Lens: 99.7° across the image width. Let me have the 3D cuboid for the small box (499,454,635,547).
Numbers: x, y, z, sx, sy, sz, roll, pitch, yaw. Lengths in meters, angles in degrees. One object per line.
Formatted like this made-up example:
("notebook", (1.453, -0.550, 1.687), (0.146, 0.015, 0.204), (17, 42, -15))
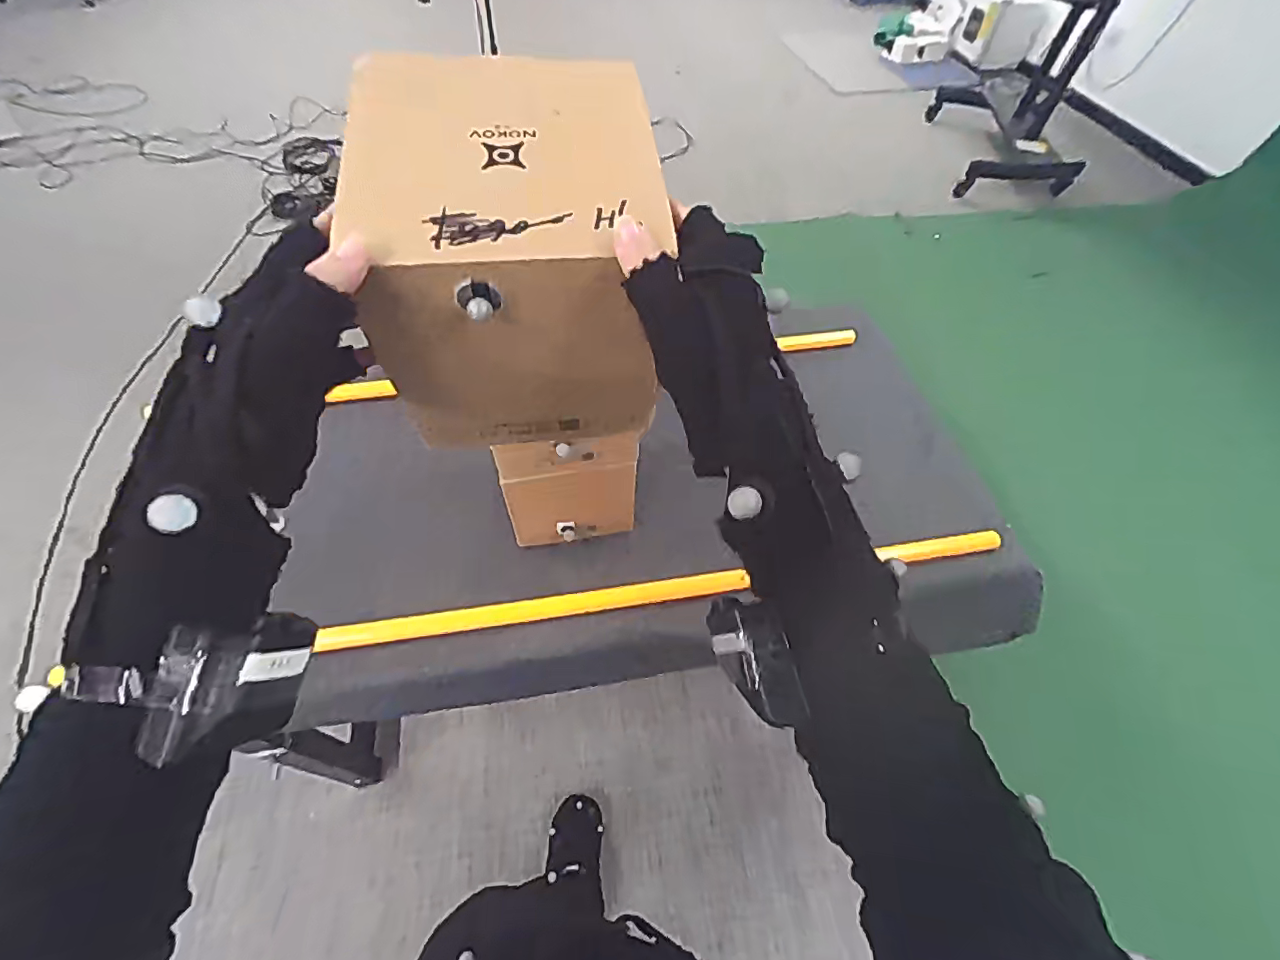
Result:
("small box", (-0.106, -0.029, 0.764), (0.168, 0.176, 0.179), (-10, 57, -9))

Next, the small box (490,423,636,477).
("small box", (-0.099, -0.127, 0.632), (0.168, 0.176, 0.179), (-8, 55, -8))

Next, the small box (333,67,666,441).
("small box", (-0.082, -0.148, 0.376), (0.168, 0.176, 0.179), (-5, 63, -6))
